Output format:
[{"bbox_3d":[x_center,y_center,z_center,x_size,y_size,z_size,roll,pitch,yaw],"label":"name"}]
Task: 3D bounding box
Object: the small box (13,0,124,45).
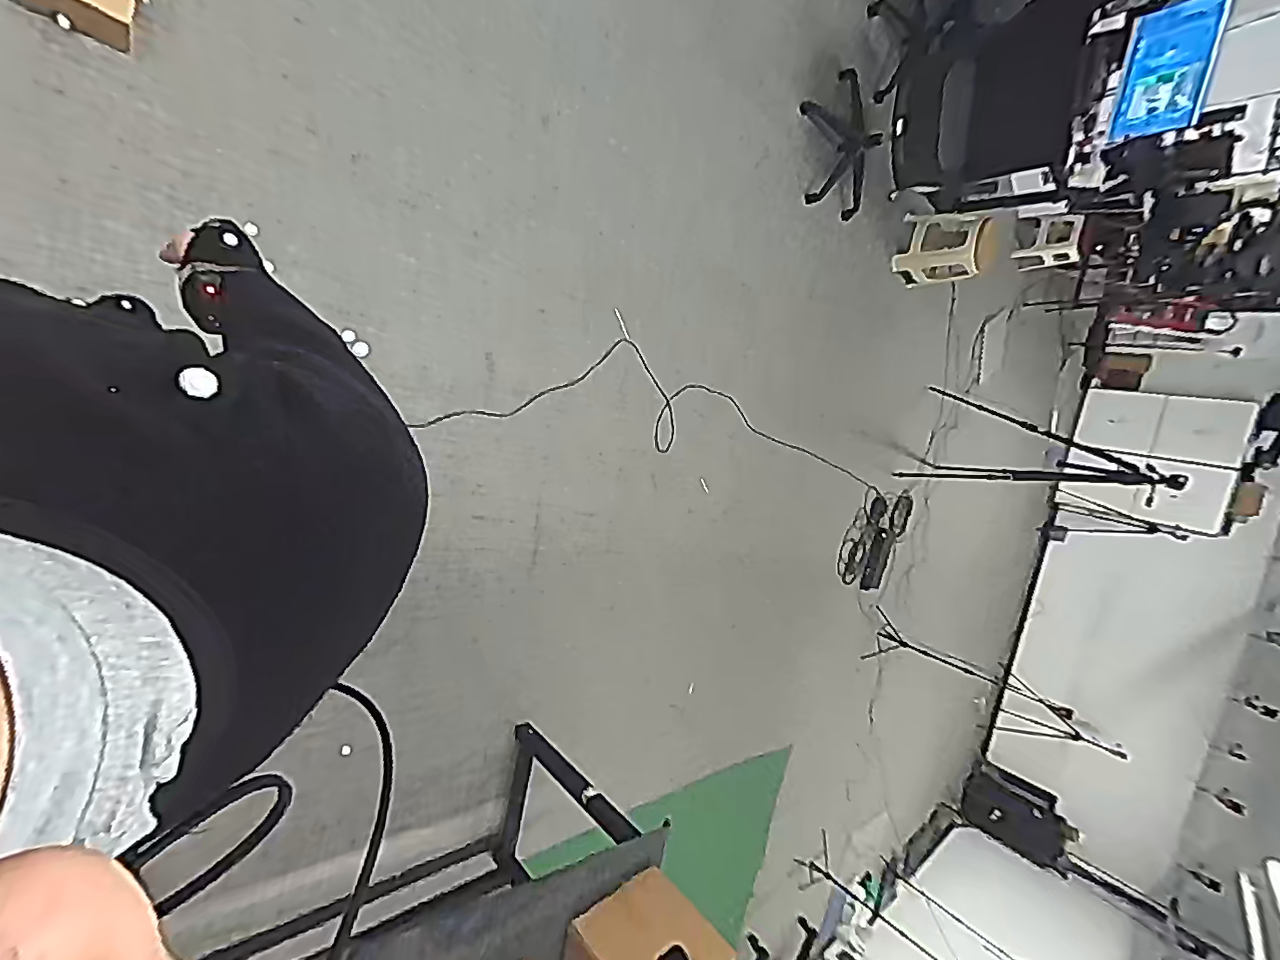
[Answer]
[{"bbox_3d":[-0.980,-0.892,0.907,0.168,0.176,0.179,7,100,-45],"label":"small box"}]
